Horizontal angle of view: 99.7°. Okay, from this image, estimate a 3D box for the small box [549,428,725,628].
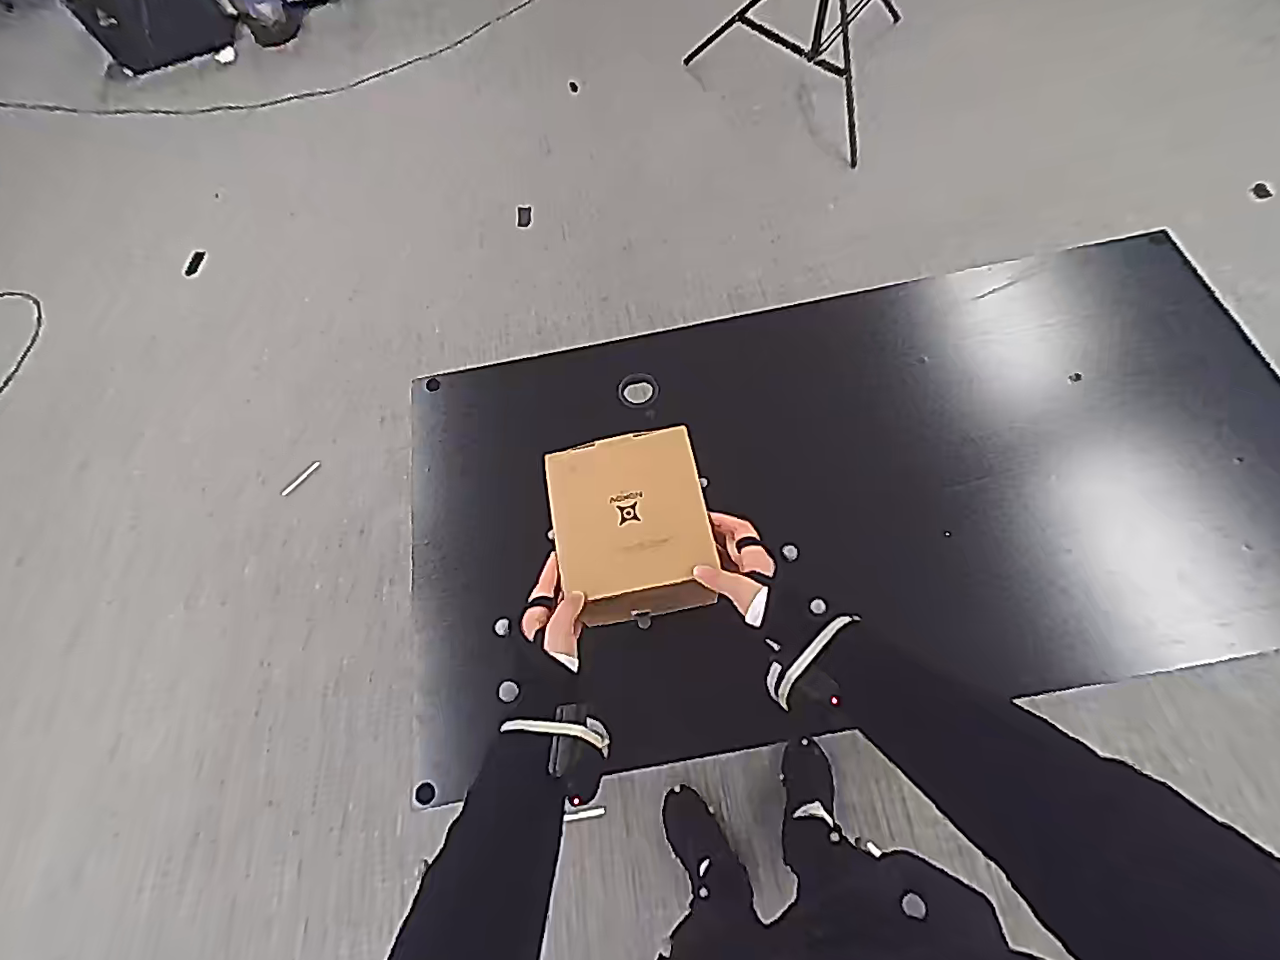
[{"bbox_3d":[-0.002,0.066,0.647,0.168,0.176,0.179,-13,67,2],"label":"small box"}]
